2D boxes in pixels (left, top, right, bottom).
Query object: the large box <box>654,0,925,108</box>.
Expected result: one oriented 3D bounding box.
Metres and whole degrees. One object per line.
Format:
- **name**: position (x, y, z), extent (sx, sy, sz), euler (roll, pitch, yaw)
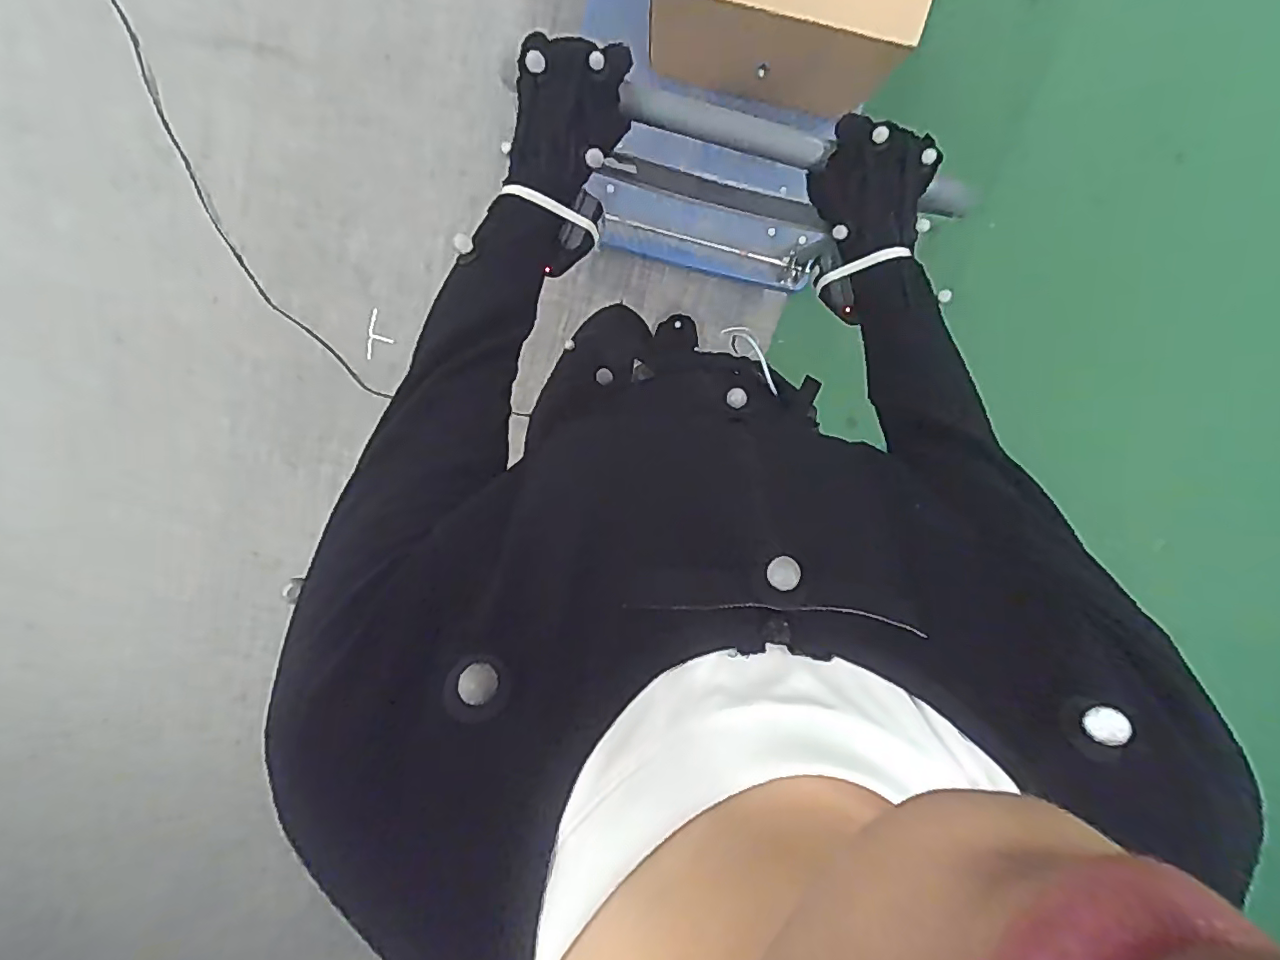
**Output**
- **large box**: position (0.249, -0.878, 0.903), extent (0.408, 0.320, 0.320), euler (11, 106, -2)
